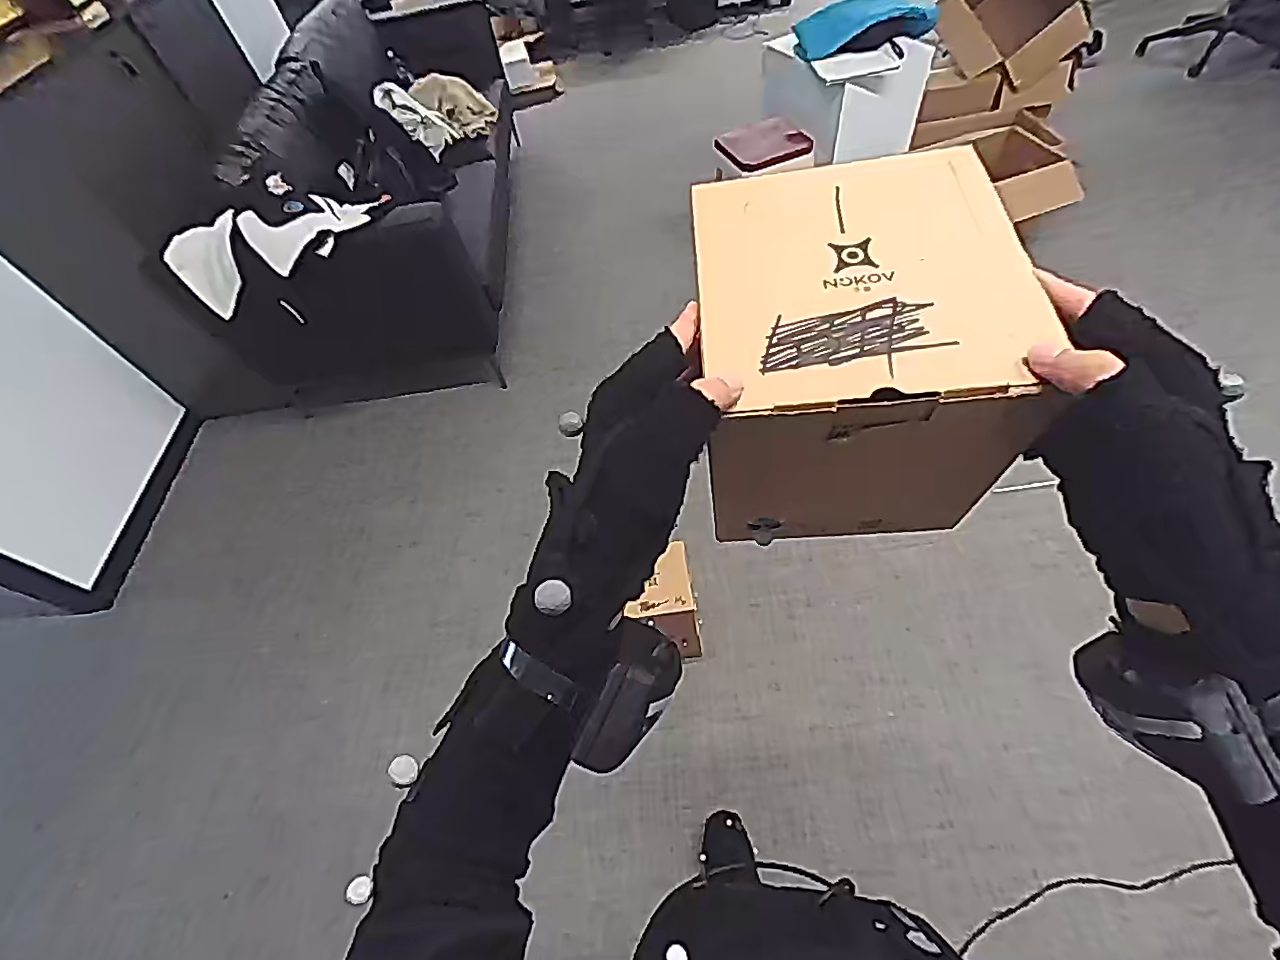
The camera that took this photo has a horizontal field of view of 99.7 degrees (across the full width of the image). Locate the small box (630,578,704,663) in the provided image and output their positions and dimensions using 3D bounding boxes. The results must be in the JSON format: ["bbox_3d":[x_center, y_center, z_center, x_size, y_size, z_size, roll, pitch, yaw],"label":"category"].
[{"bbox_3d":[0.069,0.370,1.418,0.179,0.176,0.168,-8,54,3],"label":"small box"}]

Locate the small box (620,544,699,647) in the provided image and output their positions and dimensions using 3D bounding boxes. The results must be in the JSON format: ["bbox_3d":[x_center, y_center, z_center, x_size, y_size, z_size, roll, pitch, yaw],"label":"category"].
[{"bbox_3d":[0.048,0.276,1.286,0.168,0.176,0.179,-8,53,3],"label":"small box"}]

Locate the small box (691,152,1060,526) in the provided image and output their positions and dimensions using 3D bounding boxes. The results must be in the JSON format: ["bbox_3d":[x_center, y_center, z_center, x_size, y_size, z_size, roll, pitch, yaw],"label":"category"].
[{"bbox_3d":[0.125,-0.076,0.364,0.168,0.176,0.179,-4,61,8],"label":"small box"}]
